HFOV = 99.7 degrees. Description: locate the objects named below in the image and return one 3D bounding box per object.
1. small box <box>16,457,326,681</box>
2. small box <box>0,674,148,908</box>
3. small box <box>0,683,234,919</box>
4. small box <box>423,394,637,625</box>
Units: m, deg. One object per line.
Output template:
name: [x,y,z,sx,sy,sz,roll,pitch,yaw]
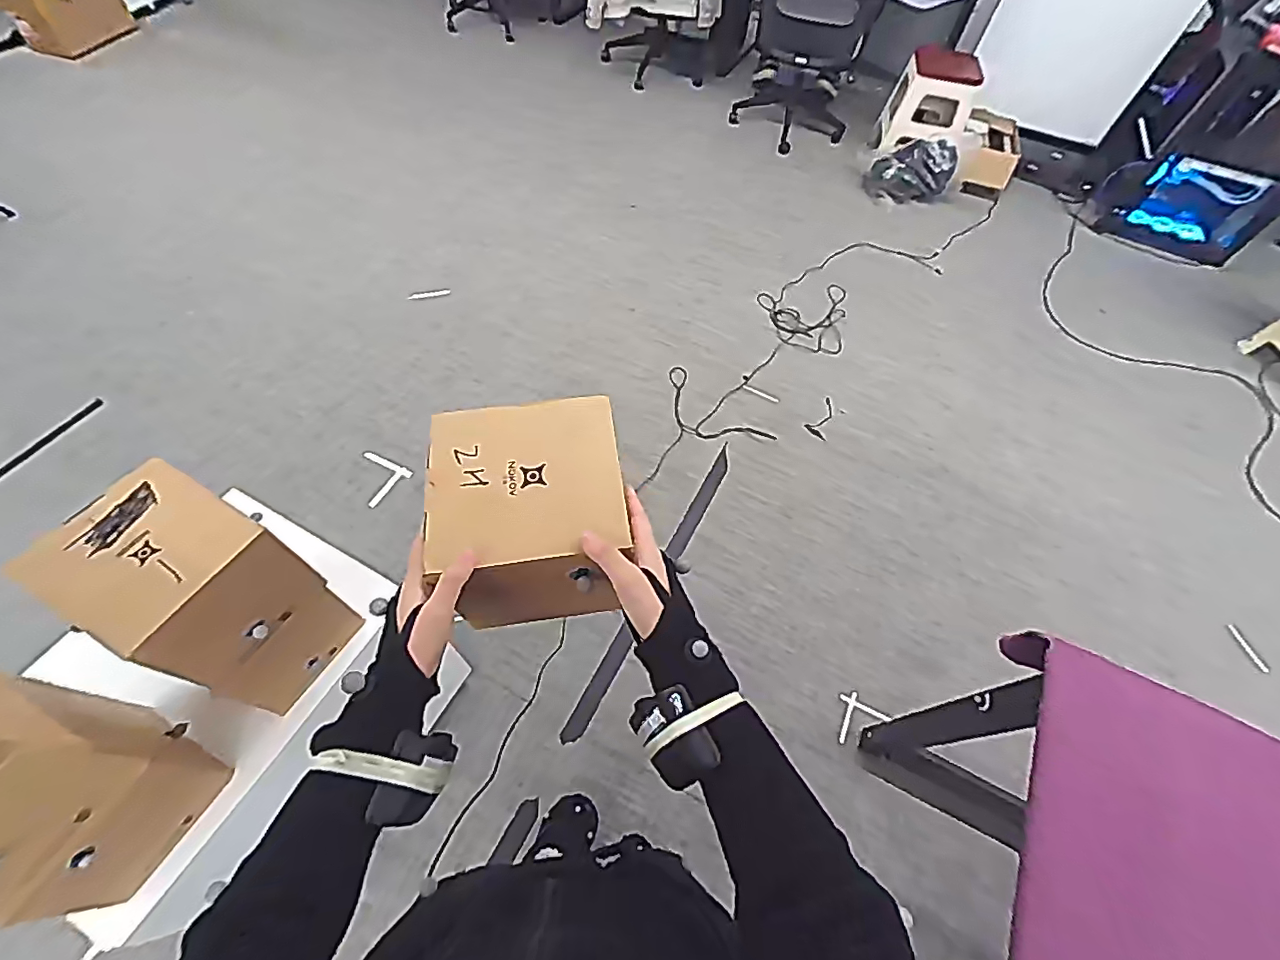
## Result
small box: [-0.518,0.111,0.629,0.179,0.176,0.168,28,61,11]
small box: [-0.642,0.291,0.510,0.179,0.176,0.168,25,60,11]
small box: [-0.654,0.376,0.648,0.179,0.176,0.168,26,61,13]
small box: [-0.100,0.036,0.549,0.179,0.176,0.168,-7,59,-4]
